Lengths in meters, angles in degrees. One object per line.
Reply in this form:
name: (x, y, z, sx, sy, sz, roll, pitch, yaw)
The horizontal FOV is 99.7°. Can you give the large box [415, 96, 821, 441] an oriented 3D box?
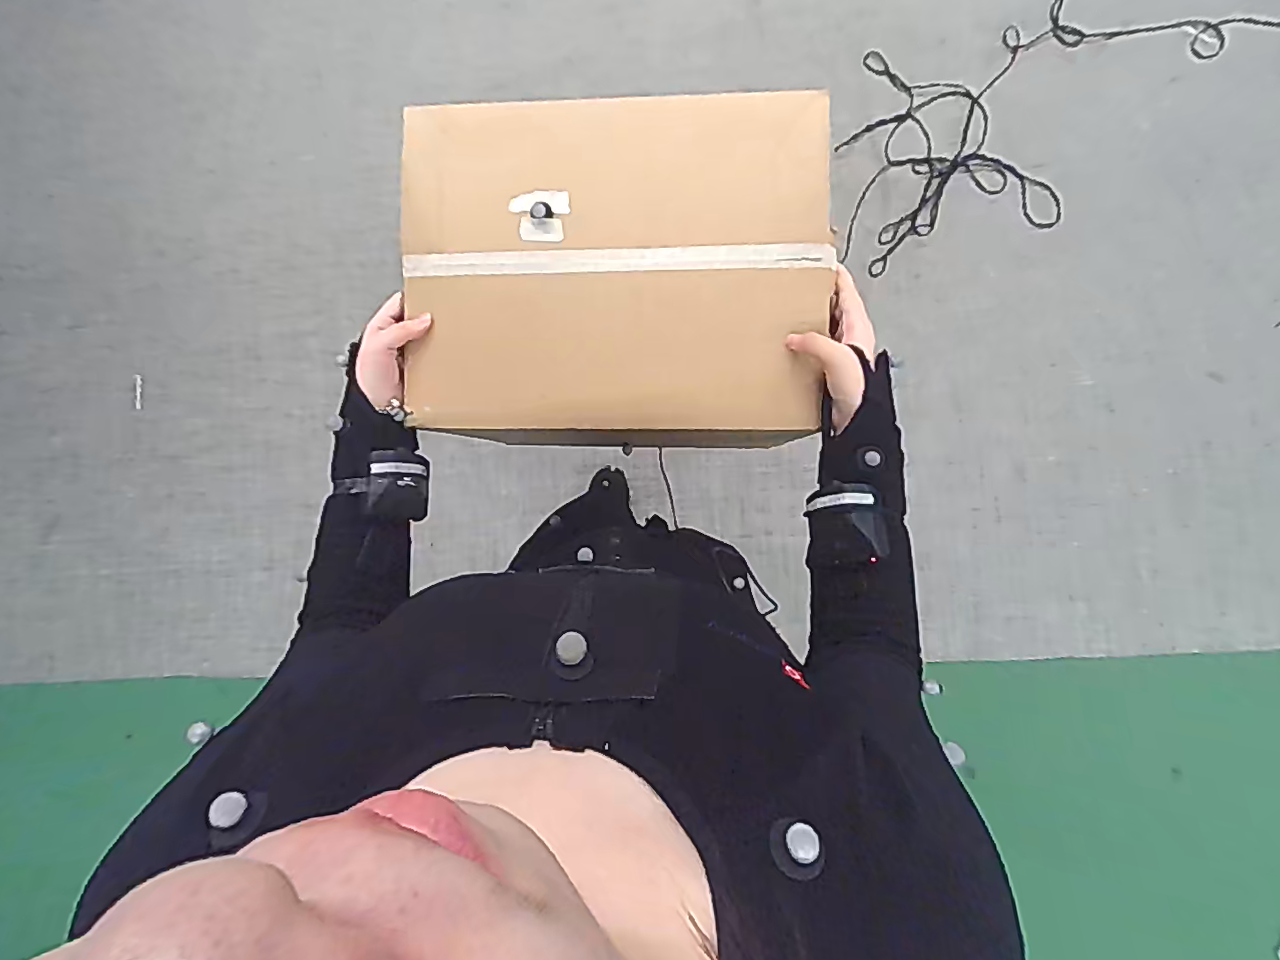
large box: (-0.012, -0.209, 0.674, 0.408, 0.320, 0.320, 0, 90, 5)
